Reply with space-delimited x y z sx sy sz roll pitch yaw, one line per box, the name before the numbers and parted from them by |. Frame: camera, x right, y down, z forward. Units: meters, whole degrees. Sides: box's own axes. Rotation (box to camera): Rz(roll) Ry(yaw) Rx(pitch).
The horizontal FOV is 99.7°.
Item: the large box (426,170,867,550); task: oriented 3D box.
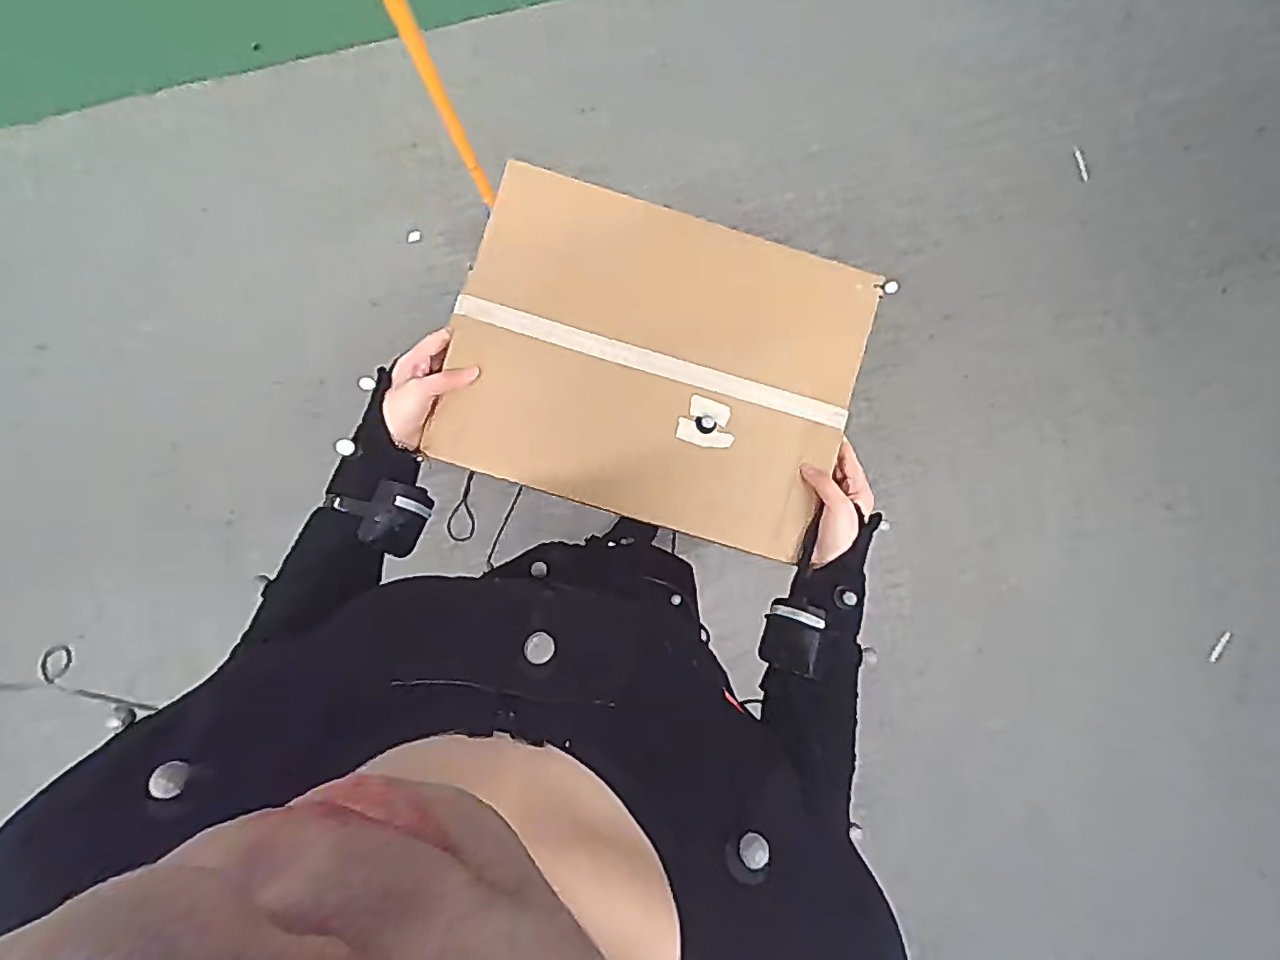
large box | 0.002 -0.118 0.702 0.408 0.320 0.320 16 88 -3
